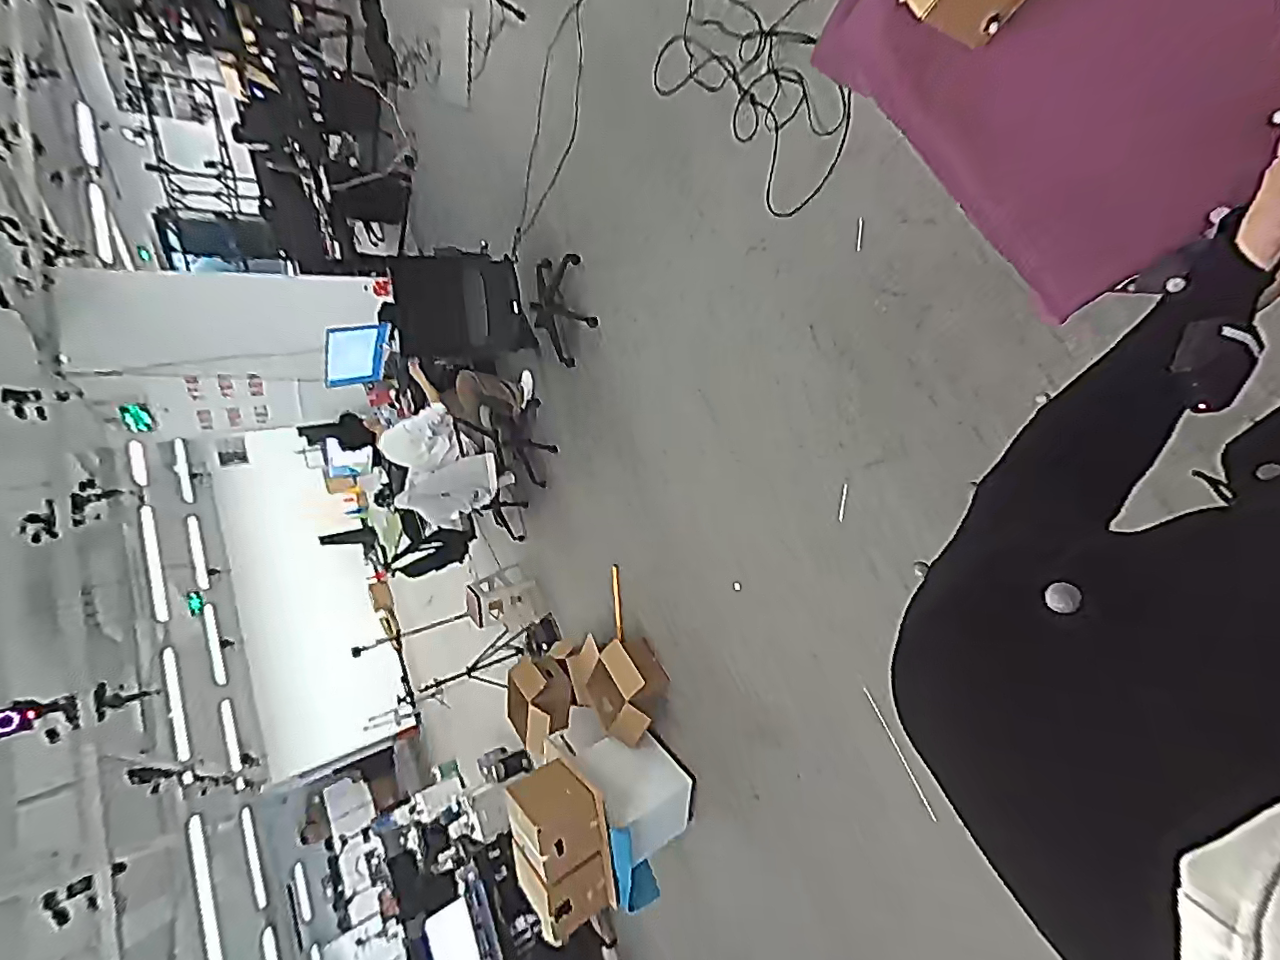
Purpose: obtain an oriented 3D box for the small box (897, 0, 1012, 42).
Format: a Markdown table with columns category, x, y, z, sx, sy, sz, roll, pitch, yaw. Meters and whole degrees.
| category | x | y | z | sx | sy | sz | roll | pitch | yaw |
| --- | --- | --- | --- | --- | --- | --- | --- | --- | --- |
| small box | 0.413 | -0.703 | 0.685 | 0.168 | 0.176 | 0.179 | -44 | 67 | 51 |
